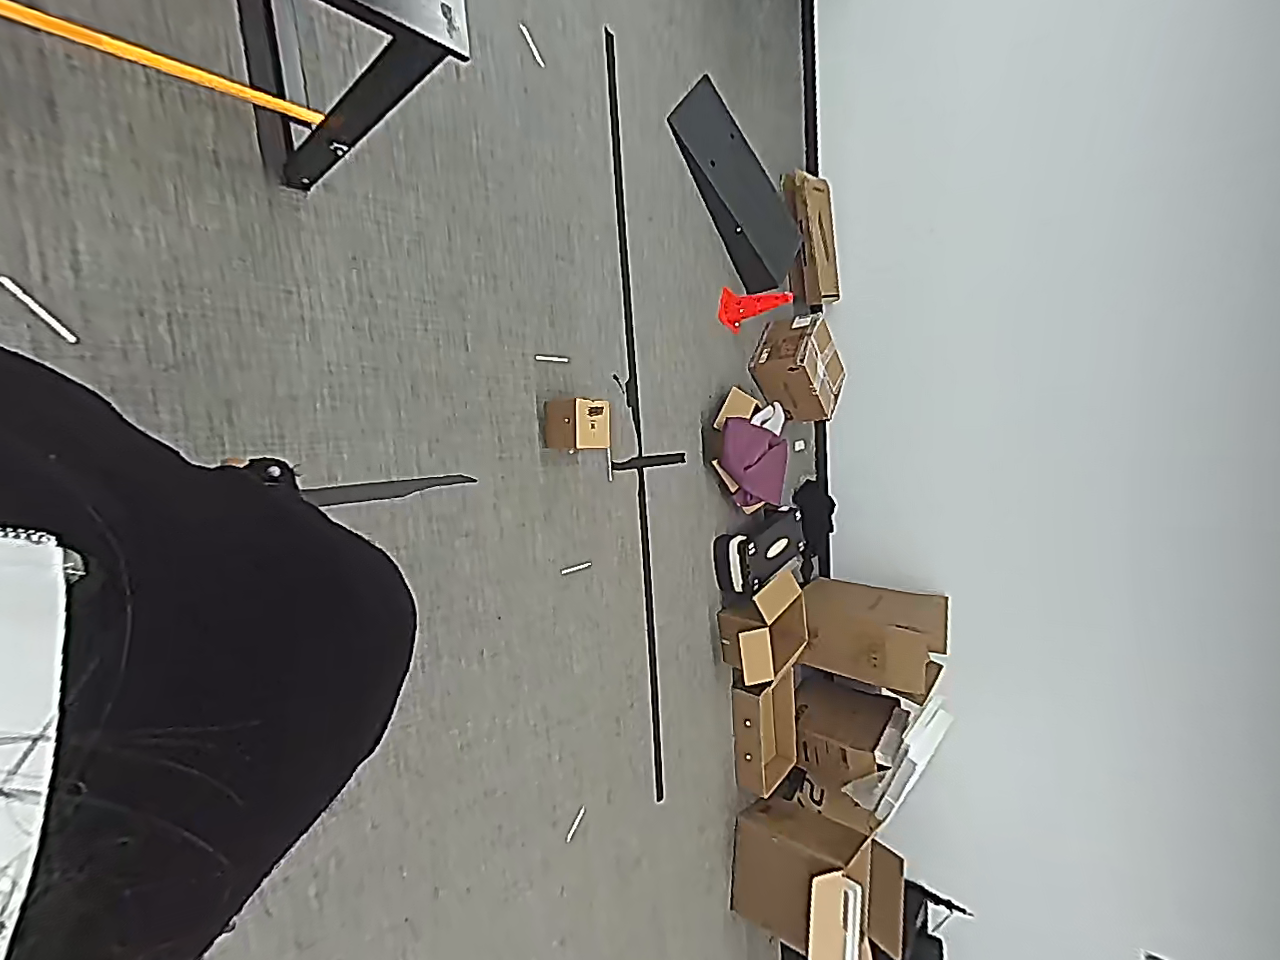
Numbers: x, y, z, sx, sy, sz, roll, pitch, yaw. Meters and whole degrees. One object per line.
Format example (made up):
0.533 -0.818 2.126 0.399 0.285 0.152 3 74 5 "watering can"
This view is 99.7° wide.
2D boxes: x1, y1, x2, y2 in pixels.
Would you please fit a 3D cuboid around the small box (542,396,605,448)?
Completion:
-0.246 -0.206 1.975 0.168 0.176 0.179 -4 95 -49 "small box"
